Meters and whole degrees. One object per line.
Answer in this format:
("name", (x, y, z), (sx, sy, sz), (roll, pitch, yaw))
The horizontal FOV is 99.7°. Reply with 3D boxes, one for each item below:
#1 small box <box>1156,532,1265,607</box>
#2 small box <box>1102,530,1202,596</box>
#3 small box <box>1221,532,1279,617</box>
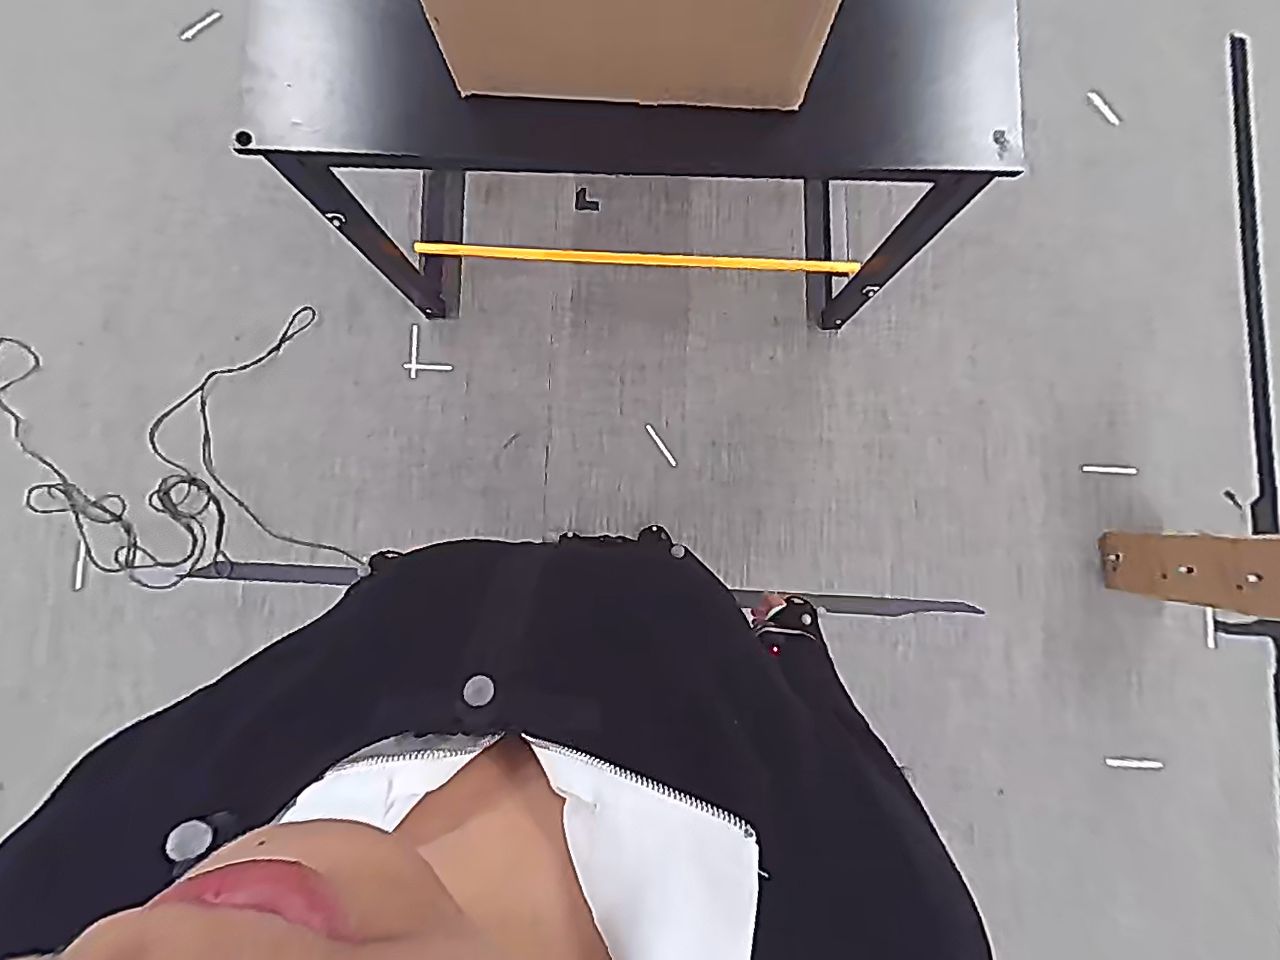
("small box", (1.366, 0.207, 1.267), (0.179, 0.176, 0.168), (1, 85, 0))
("small box", (1.381, 0.216, 1.431), (0.179, 0.176, 0.168), (0, 84, 1))
("small box", (1.366, 0.192, 1.102), (0.179, 0.176, 0.168), (-4, 84, -1))
